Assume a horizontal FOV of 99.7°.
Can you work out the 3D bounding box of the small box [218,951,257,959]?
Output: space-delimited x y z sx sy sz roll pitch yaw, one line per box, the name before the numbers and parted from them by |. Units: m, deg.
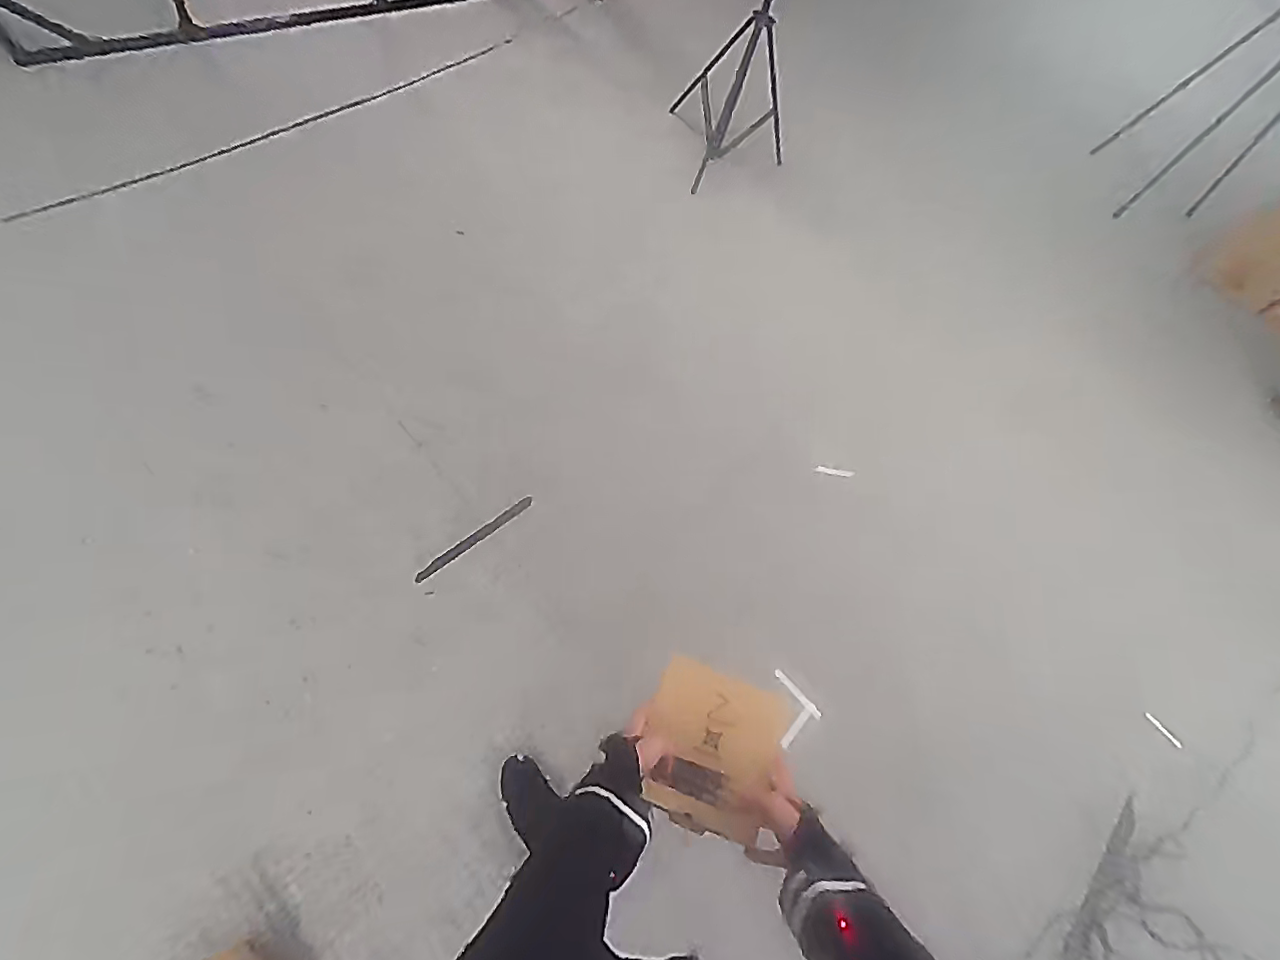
small box | -0.760 0.988 0.957 0.179 0.176 0.168 39 61 7
